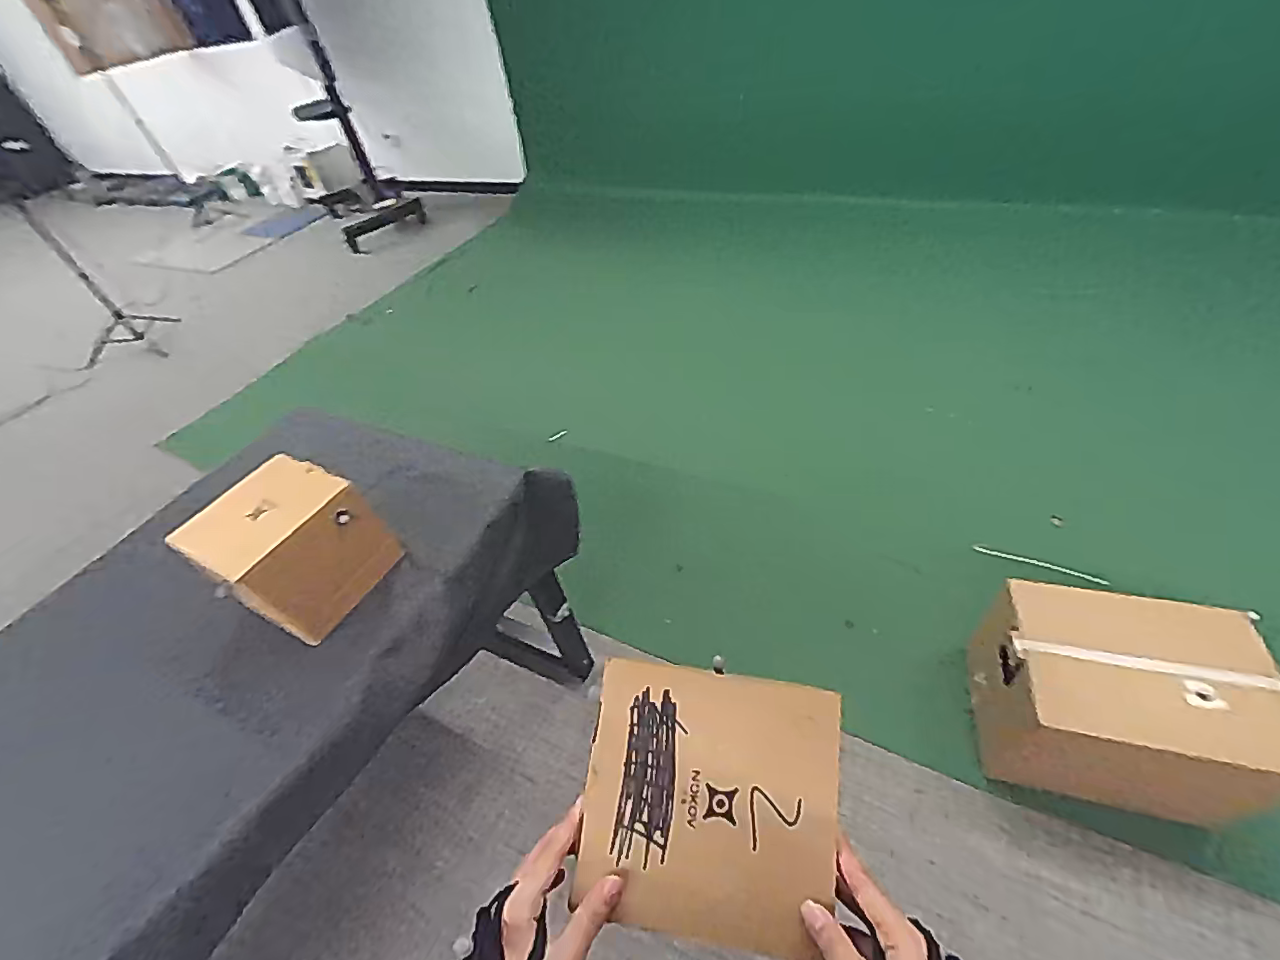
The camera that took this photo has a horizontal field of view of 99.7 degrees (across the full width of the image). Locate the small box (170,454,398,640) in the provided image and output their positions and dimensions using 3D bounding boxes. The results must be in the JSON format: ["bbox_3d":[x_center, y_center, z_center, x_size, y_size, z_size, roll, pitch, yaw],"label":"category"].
[{"bbox_3d":[-0.486,0.096,0.767,0.168,0.176,0.179,16,51,25],"label":"small box"}]
